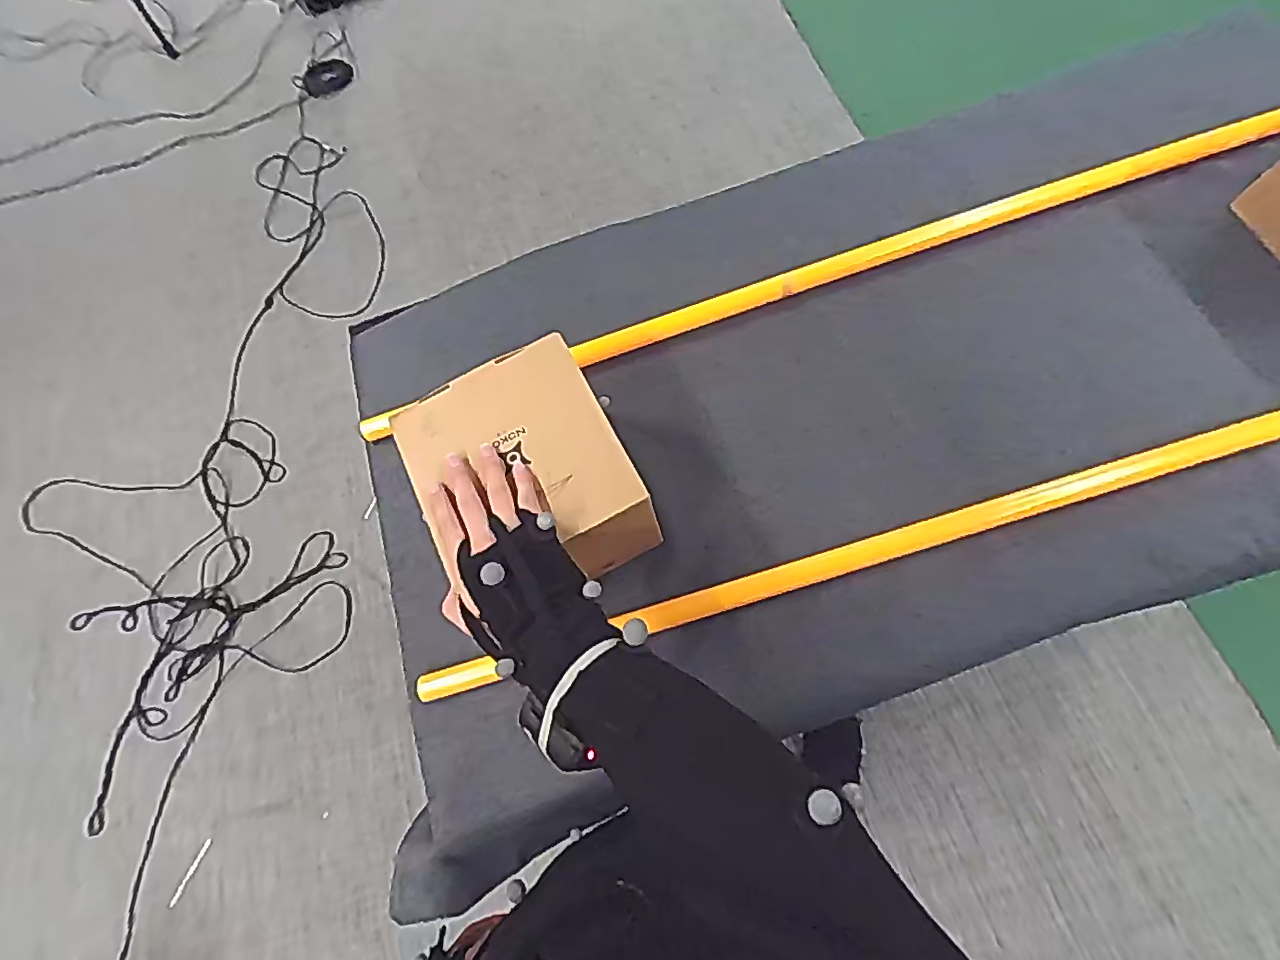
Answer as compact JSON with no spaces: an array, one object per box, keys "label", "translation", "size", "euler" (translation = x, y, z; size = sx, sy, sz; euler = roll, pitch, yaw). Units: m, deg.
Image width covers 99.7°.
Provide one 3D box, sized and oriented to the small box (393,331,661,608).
[{"label":"small box","translation":[-0.092,0.003,0.511],"size":[0.168,0.176,0.179],"euler":[-29,71,-3]}]
